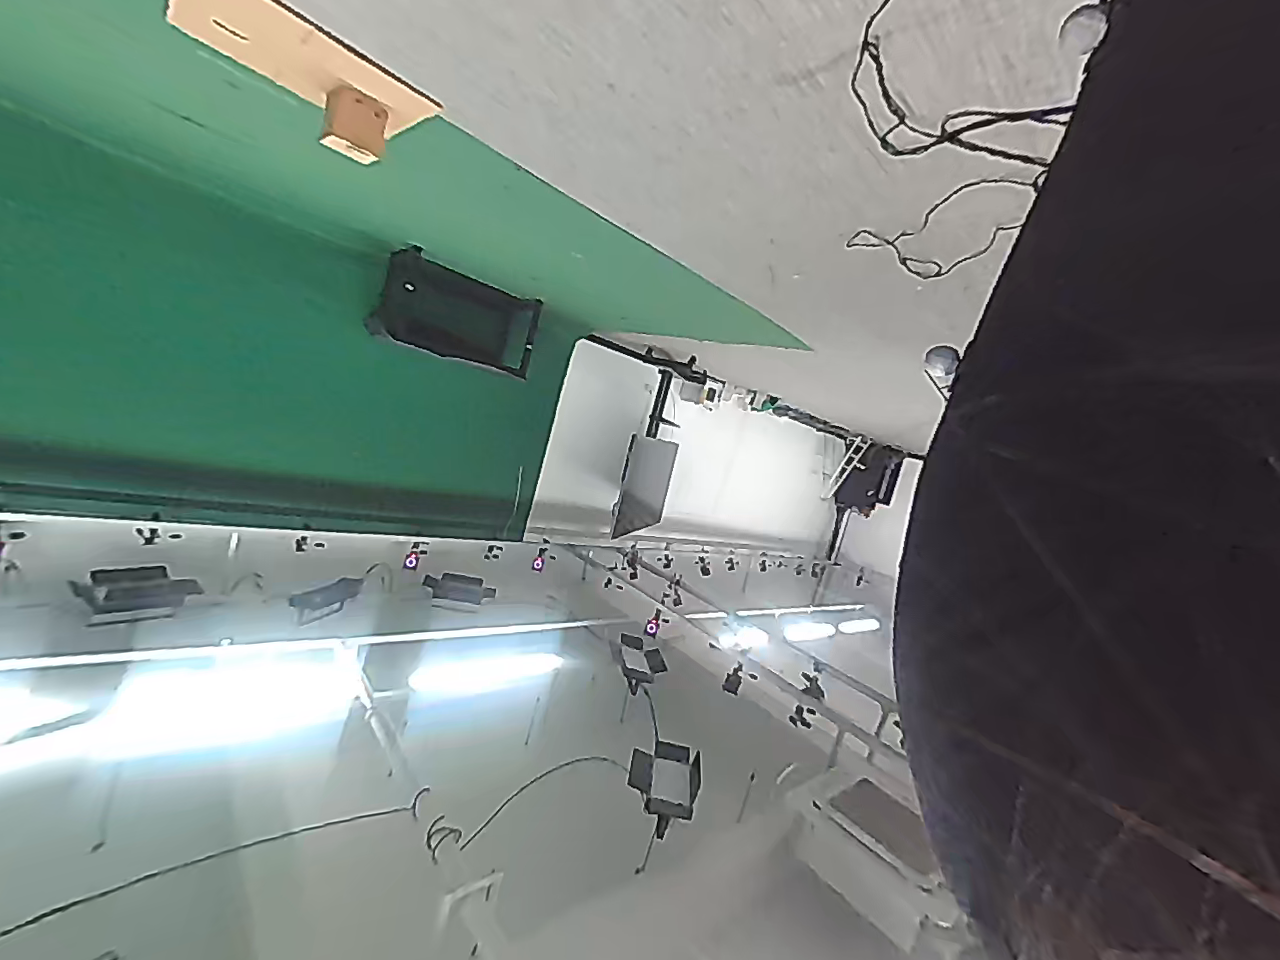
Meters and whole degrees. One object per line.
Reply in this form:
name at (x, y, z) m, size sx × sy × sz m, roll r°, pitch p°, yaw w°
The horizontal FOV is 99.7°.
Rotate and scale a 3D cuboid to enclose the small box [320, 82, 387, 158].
small box at (-1.054, -1.325, 1.991) m, size 0.179 × 0.176 × 0.168 m, roll 23°, pitch -170°, yaw 42°
